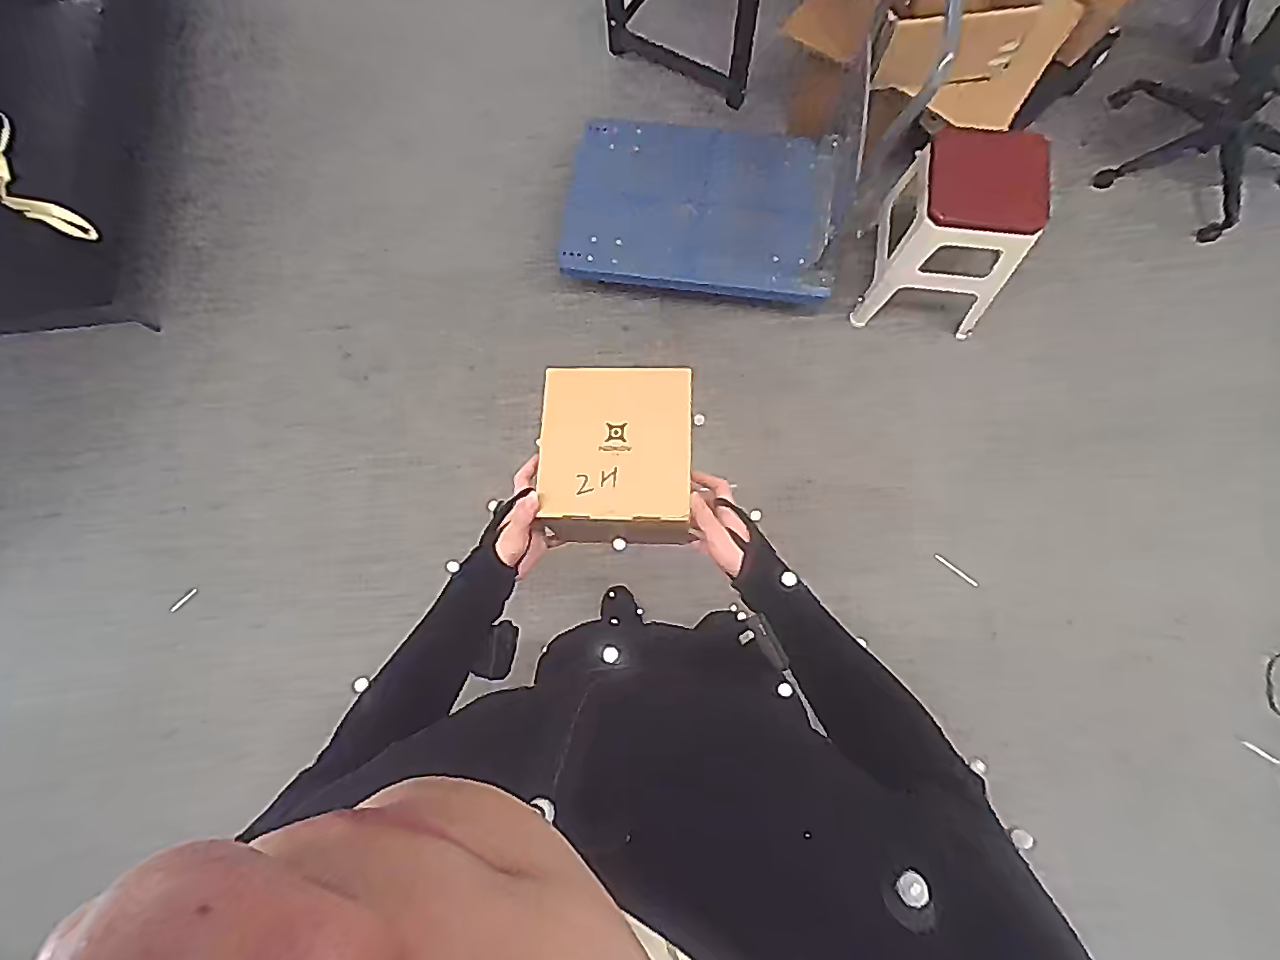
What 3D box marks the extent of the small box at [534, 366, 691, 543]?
[{"bbox_3d":[-0.025,-0.024,0.674,0.168,0.176,0.179,2,75,4],"label":"small box"}]
